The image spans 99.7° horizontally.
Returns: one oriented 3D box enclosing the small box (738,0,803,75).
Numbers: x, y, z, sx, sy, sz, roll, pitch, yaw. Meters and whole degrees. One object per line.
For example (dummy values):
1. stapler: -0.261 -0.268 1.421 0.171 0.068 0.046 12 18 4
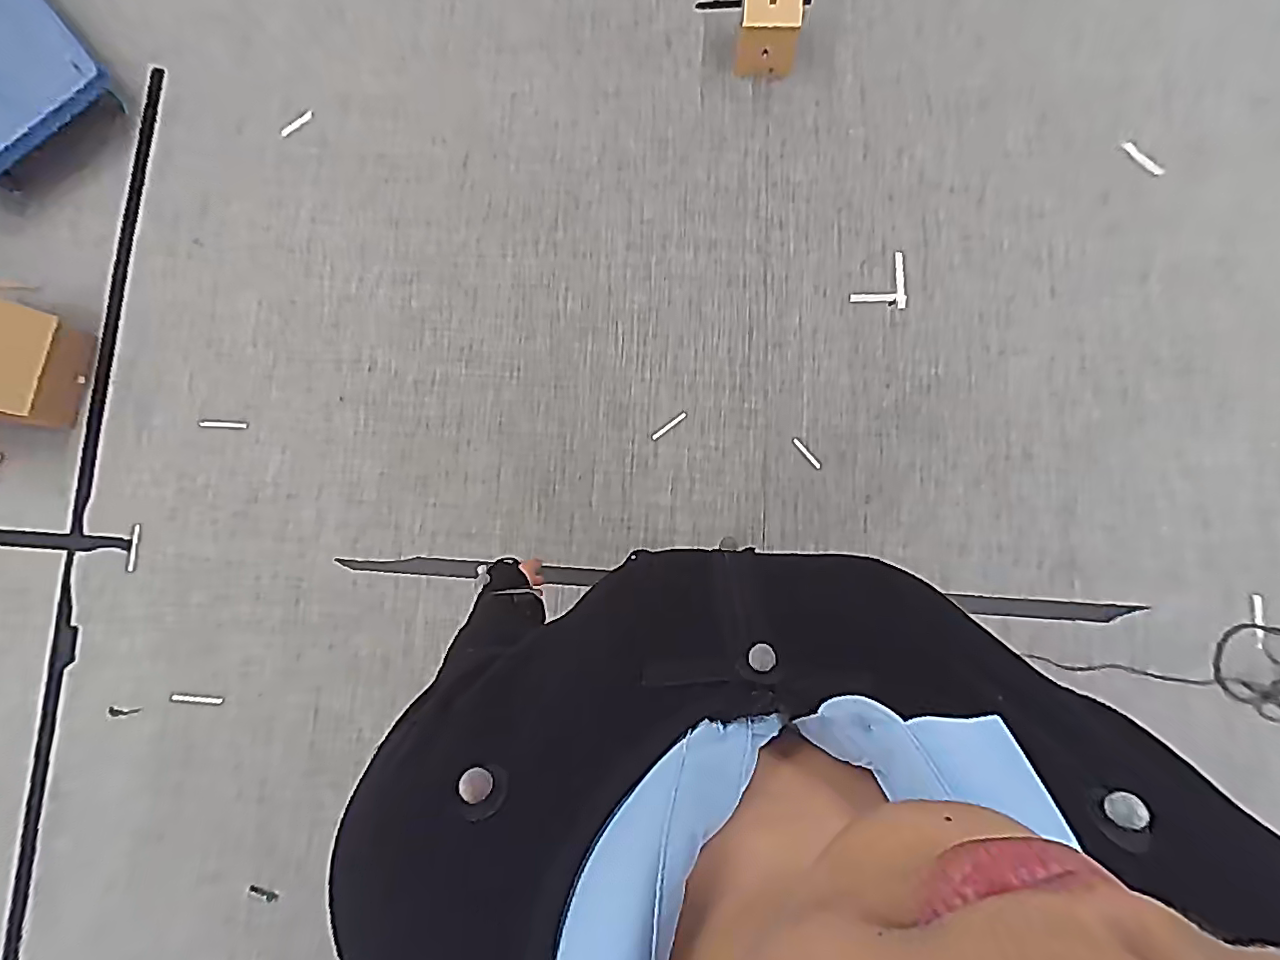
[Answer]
1. small box: 0.387 -1.355 1.615 0.168 0.176 0.179 5 83 4
